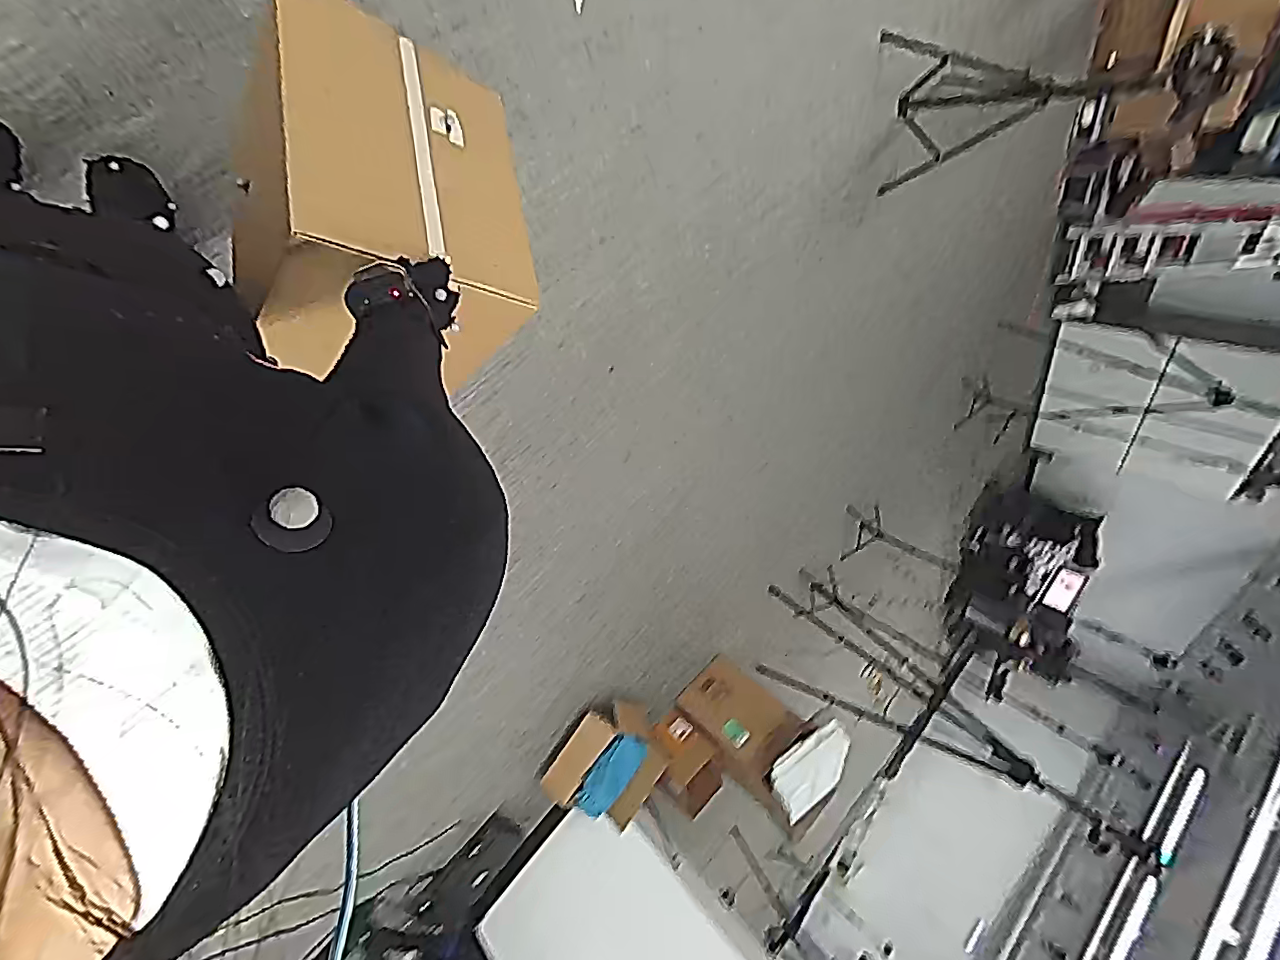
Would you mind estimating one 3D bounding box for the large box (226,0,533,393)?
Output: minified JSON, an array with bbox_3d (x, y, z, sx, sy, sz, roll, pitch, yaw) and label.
[{"bbox_3d":[-0.414,-0.389,0.833,0.320,0.320,0.408,2,68,-47],"label":"large box"}]
